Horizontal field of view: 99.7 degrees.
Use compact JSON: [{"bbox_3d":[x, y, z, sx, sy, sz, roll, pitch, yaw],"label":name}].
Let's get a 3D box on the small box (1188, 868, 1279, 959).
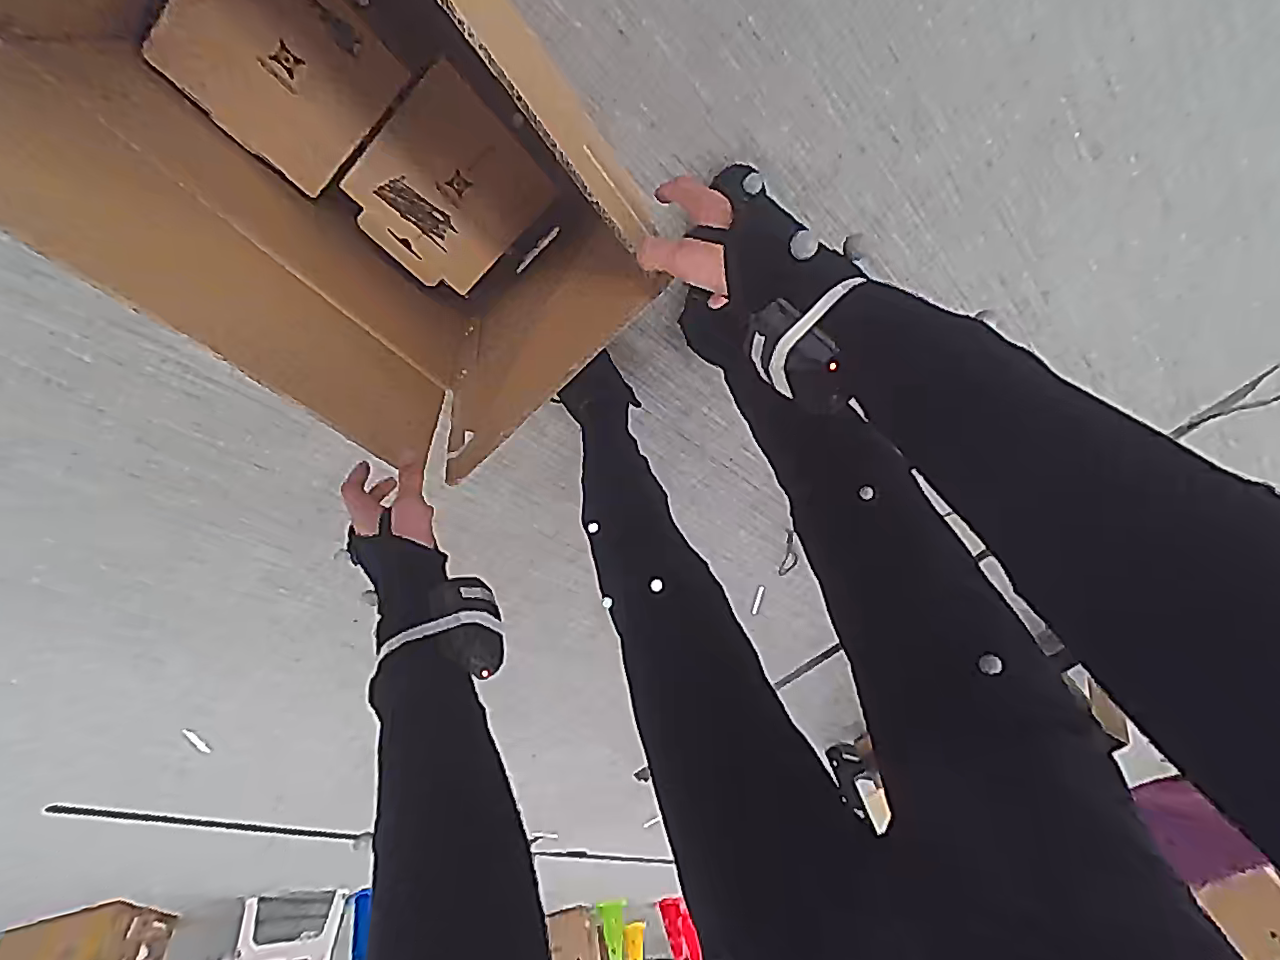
[{"bbox_3d":[1.569,1.111,1.372,0.168,0.176,0.179,31,117,-32],"label":"small box"}]
